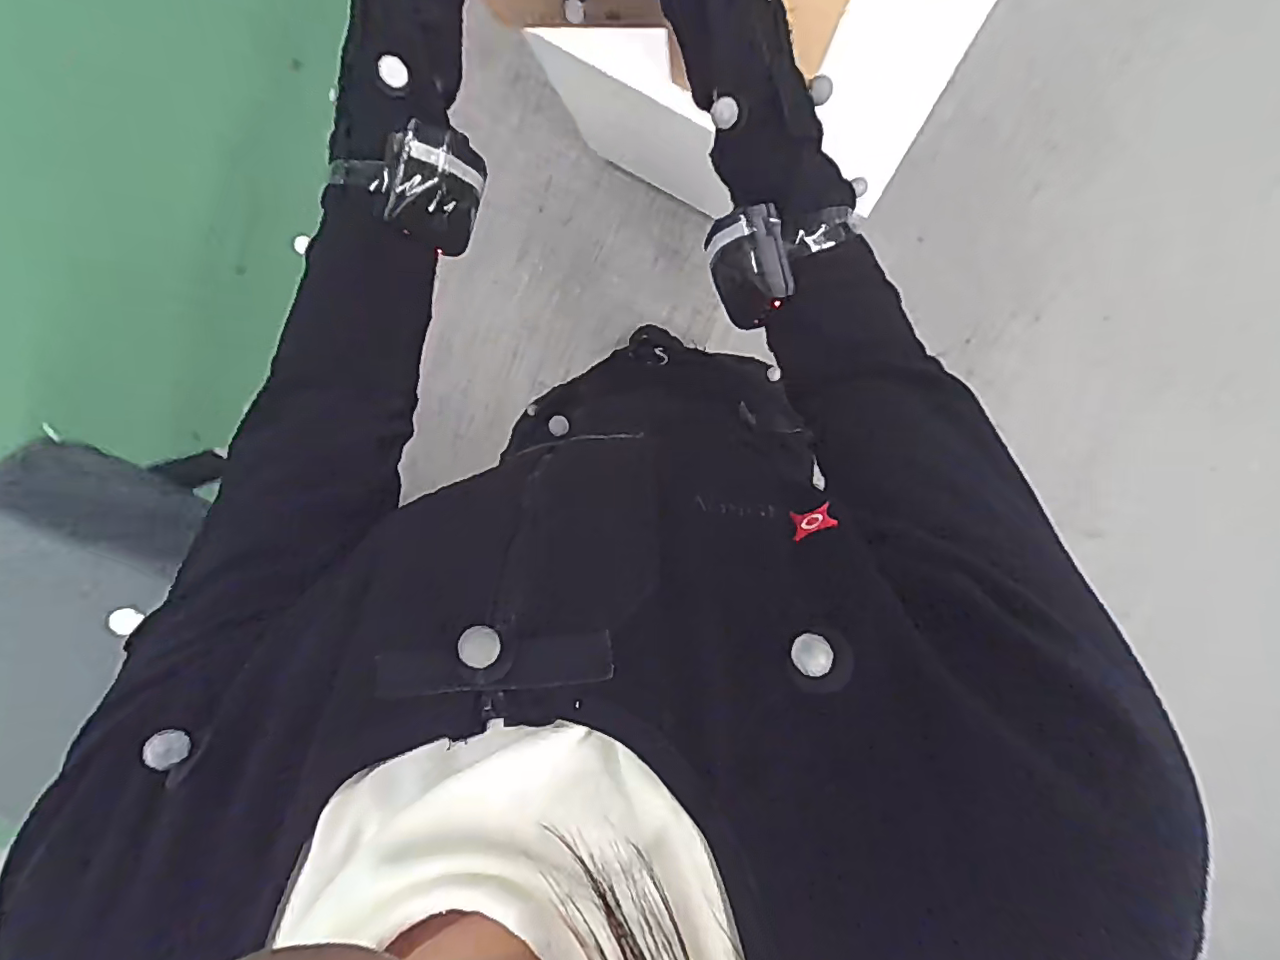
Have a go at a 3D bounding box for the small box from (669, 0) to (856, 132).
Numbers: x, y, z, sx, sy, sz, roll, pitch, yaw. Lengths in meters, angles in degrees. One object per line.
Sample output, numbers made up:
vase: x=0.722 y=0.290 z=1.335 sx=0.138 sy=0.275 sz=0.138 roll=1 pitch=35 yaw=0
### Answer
small box: x=0.140 y=-0.514 z=0.573 sx=0.168 sy=0.176 sz=0.179 roll=23 pitch=109 yaw=0

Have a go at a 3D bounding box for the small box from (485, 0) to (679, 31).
small box: x=-0.056 y=-0.444 z=0.354 sx=0.168 sy=0.176 sz=0.179 roll=-1 pitch=106 yaw=5
